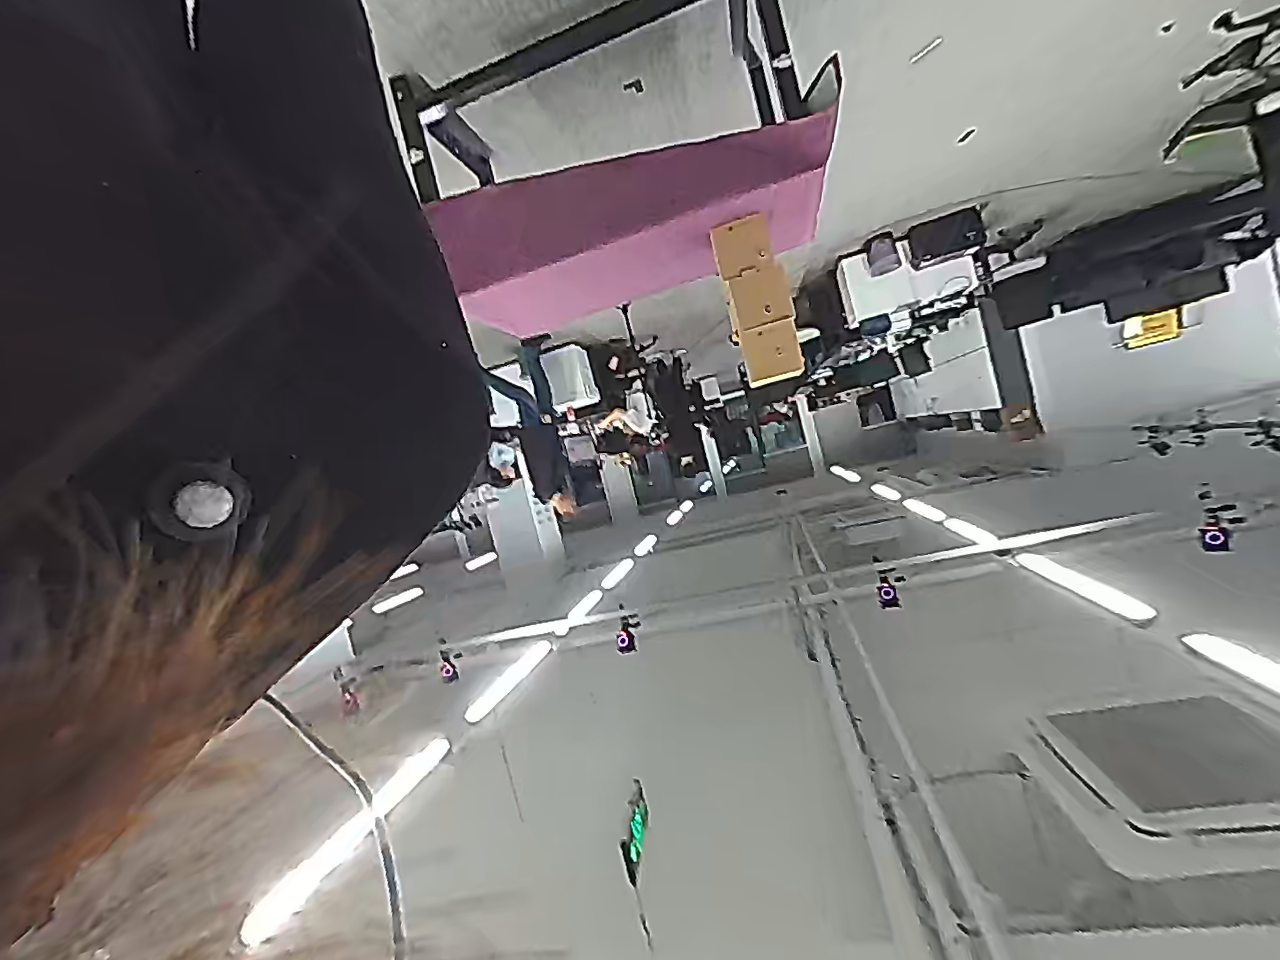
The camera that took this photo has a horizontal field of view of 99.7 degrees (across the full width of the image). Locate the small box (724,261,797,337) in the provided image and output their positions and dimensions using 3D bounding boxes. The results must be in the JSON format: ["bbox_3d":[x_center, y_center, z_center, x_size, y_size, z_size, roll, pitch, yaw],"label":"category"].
[{"bbox_3d":[0.382,-0.580,1.733,0.179,0.176,0.168,-14,-179,5],"label":"small box"}]

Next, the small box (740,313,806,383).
[{"bbox_3d":[0.422,-0.422,1.733,0.168,0.176,0.179,-14,-177,12],"label":"small box"}]
